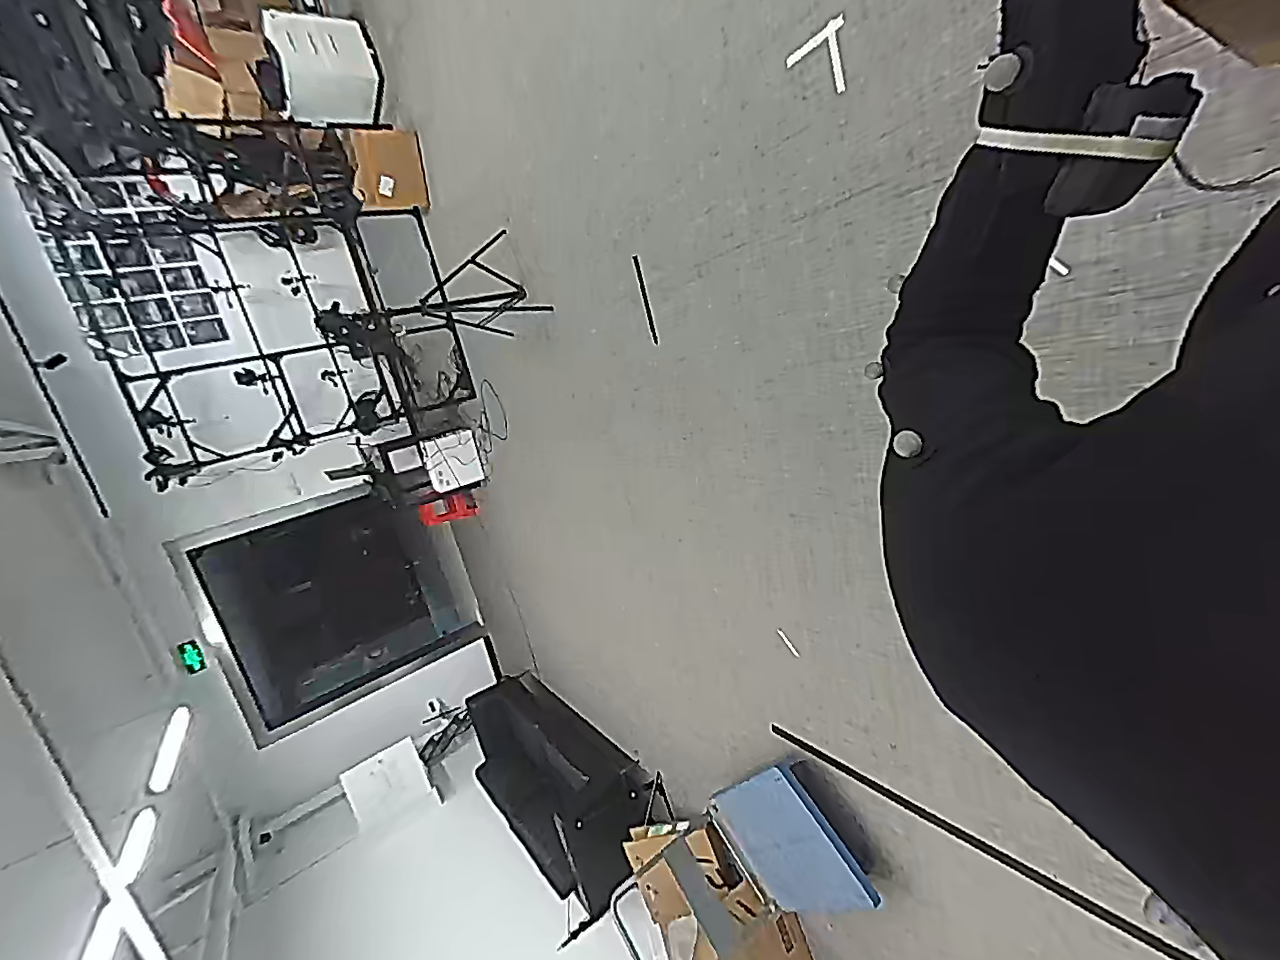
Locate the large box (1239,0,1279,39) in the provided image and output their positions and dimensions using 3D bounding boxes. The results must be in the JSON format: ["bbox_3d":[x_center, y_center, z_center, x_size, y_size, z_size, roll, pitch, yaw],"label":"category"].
[{"bbox_3d":[0.429,-0.426,0.139,0.320,0.320,0.408,19,124,50],"label":"large box"}]
